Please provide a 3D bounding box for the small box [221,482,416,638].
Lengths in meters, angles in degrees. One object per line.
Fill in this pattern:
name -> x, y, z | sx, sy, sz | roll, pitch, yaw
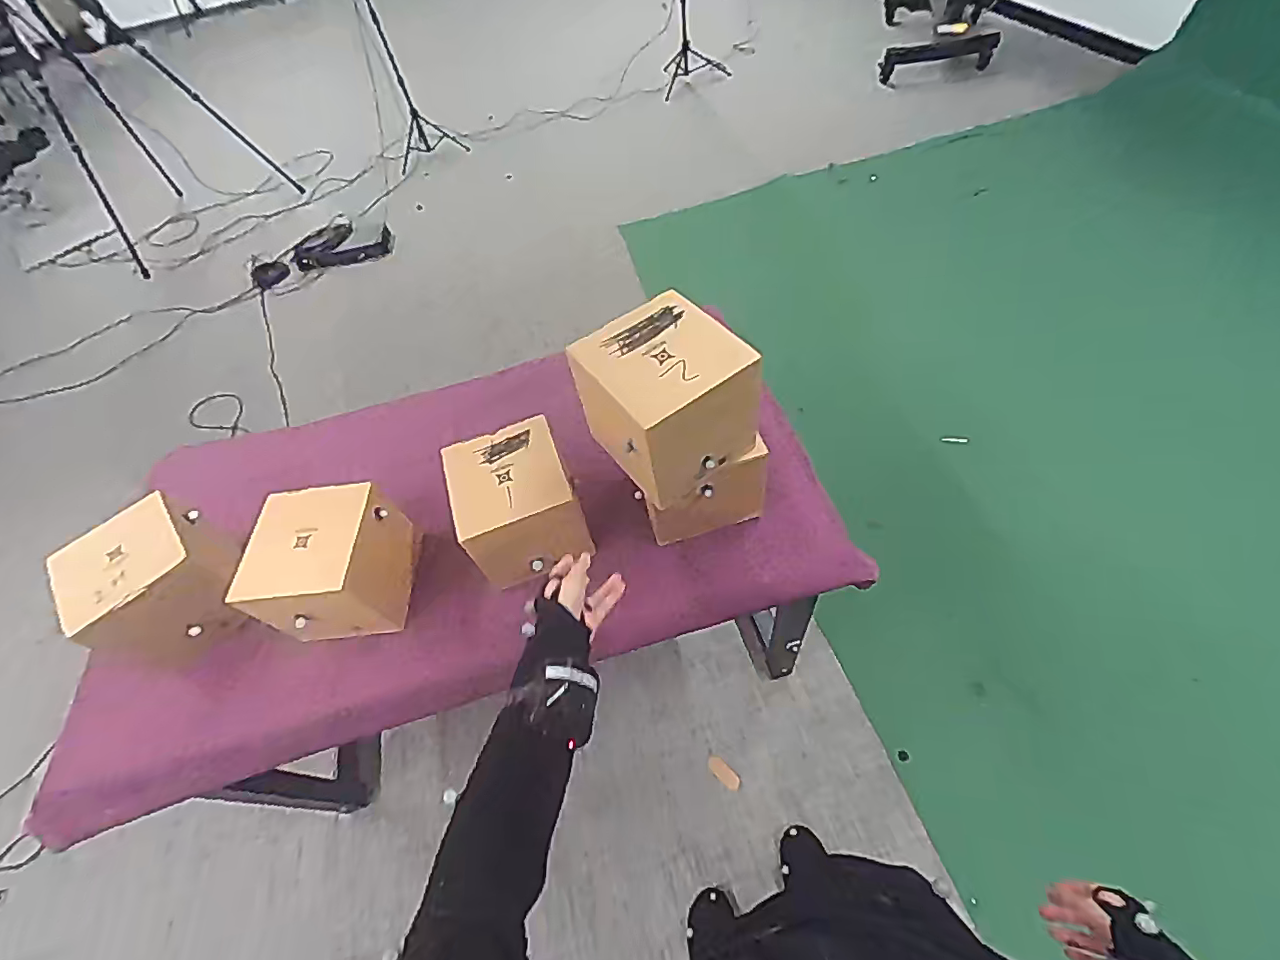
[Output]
small box -> -0.462, 0.128, 0.812 | 0.168, 0.176, 0.179 | -6, 53, 4

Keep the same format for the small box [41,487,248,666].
small box -> -0.739, 0.151, 0.828 | 0.168, 0.176, 0.179 | -39, 59, -19

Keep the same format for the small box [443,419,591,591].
small box -> -0.185, 0.041, 0.833 | 0.168, 0.176, 0.179 | -19, 55, -6

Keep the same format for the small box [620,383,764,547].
small box -> 0.080, -0.017, 0.837 | 0.179, 0.176, 0.168 | -15, 53, -2
